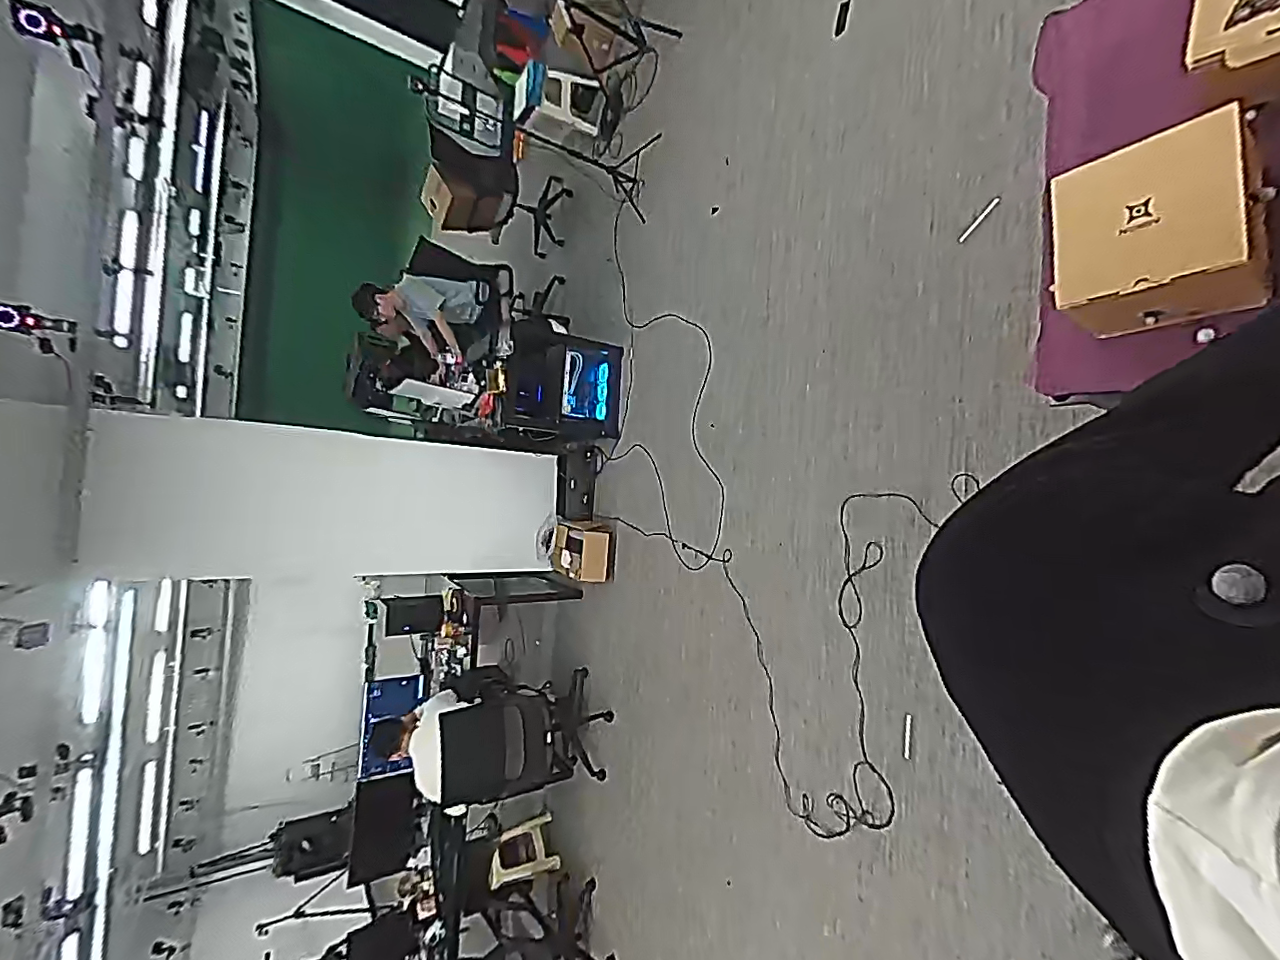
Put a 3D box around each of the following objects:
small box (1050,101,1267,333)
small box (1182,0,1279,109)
[{"bbox_3d":[0.632,-0.300,0.663,0.168,0.176,0.179,-5,83,54],"label":"small box"},{"bbox_3d":[0.715,-0.528,0.564,0.168,0.176,0.179,12,96,56],"label":"small box"}]
